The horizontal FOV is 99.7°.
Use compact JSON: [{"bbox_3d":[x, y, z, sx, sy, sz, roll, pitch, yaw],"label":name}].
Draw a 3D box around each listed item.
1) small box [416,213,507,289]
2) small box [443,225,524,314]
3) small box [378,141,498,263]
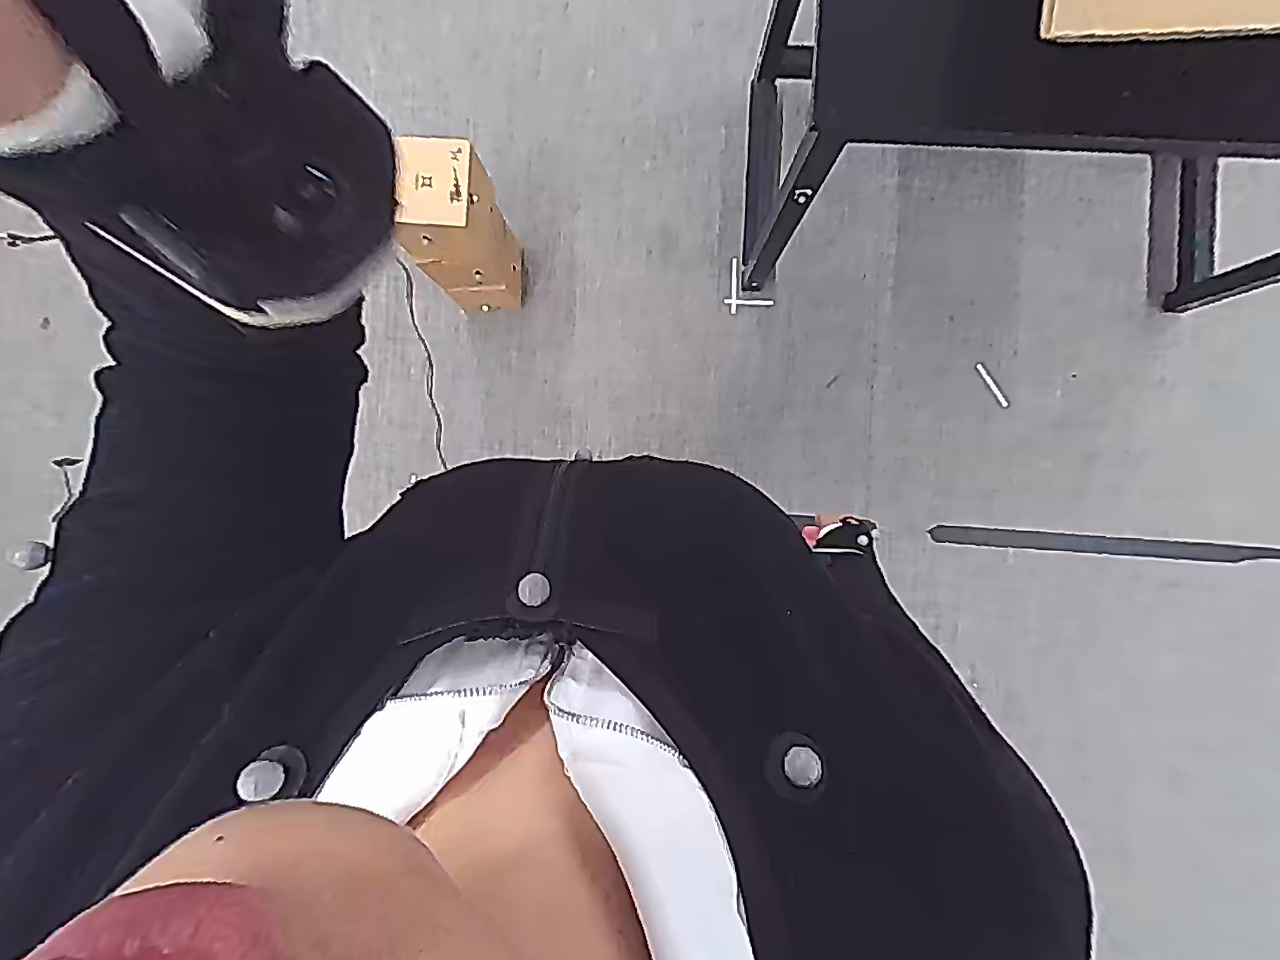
[{"bbox_3d":[-0.415,-0.560,1.270,0.168,0.176,0.179,-4,88,0],"label":"small box"},{"bbox_3d":[-0.409,-0.553,1.431,0.168,0.176,0.179,0,91,2],"label":"small box"},{"bbox_3d":[-0.405,-0.558,1.105,0.179,0.176,0.168,3,90,2],"label":"small box"}]
